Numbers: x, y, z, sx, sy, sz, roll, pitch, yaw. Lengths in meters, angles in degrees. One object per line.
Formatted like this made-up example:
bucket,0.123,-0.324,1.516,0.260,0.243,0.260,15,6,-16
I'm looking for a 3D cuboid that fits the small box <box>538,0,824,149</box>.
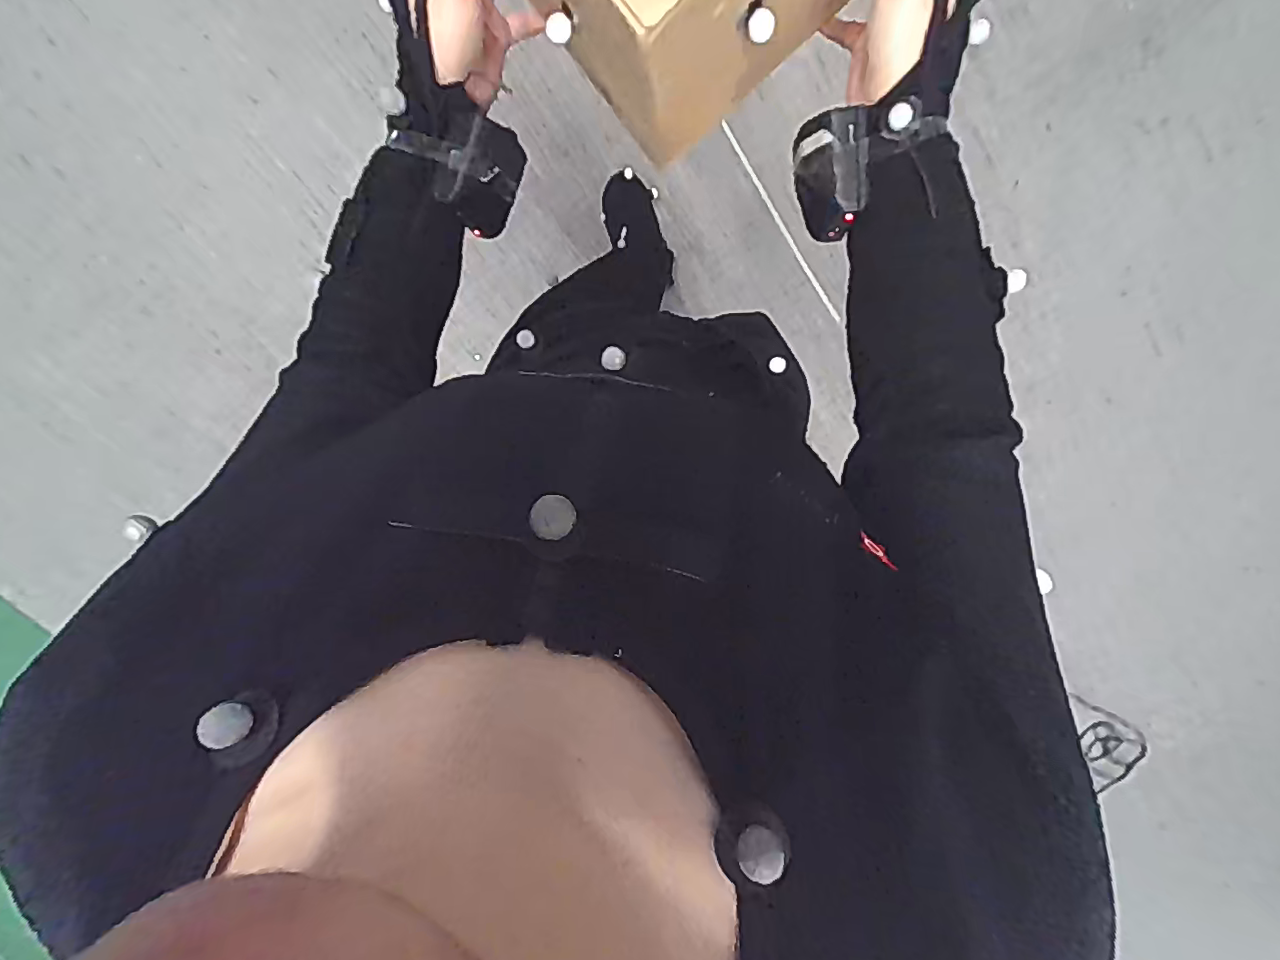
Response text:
small box,0.019,-0.339,0.309,0.179,0.176,0.168,-40,95,12
